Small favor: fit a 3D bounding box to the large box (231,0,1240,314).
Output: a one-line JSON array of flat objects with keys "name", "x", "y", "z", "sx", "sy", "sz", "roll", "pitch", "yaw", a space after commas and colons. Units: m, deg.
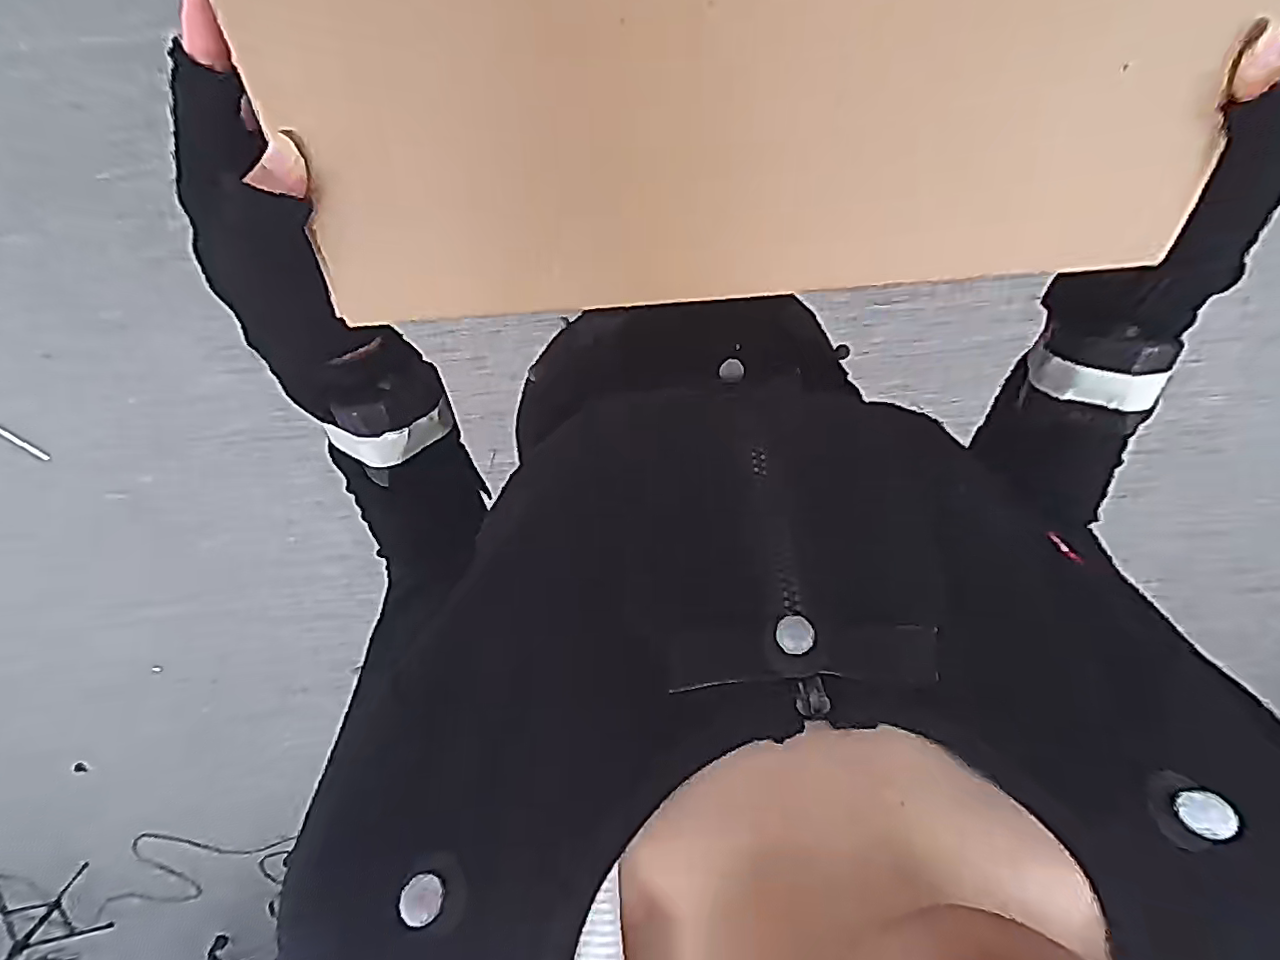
[{"name": "large box", "x": 0.031, "y": -0.314, "z": 0.306, "sx": 0.408, "sy": 0.320, "sz": 0.320, "roll": -5, "pitch": 128, "yaw": 1}]
